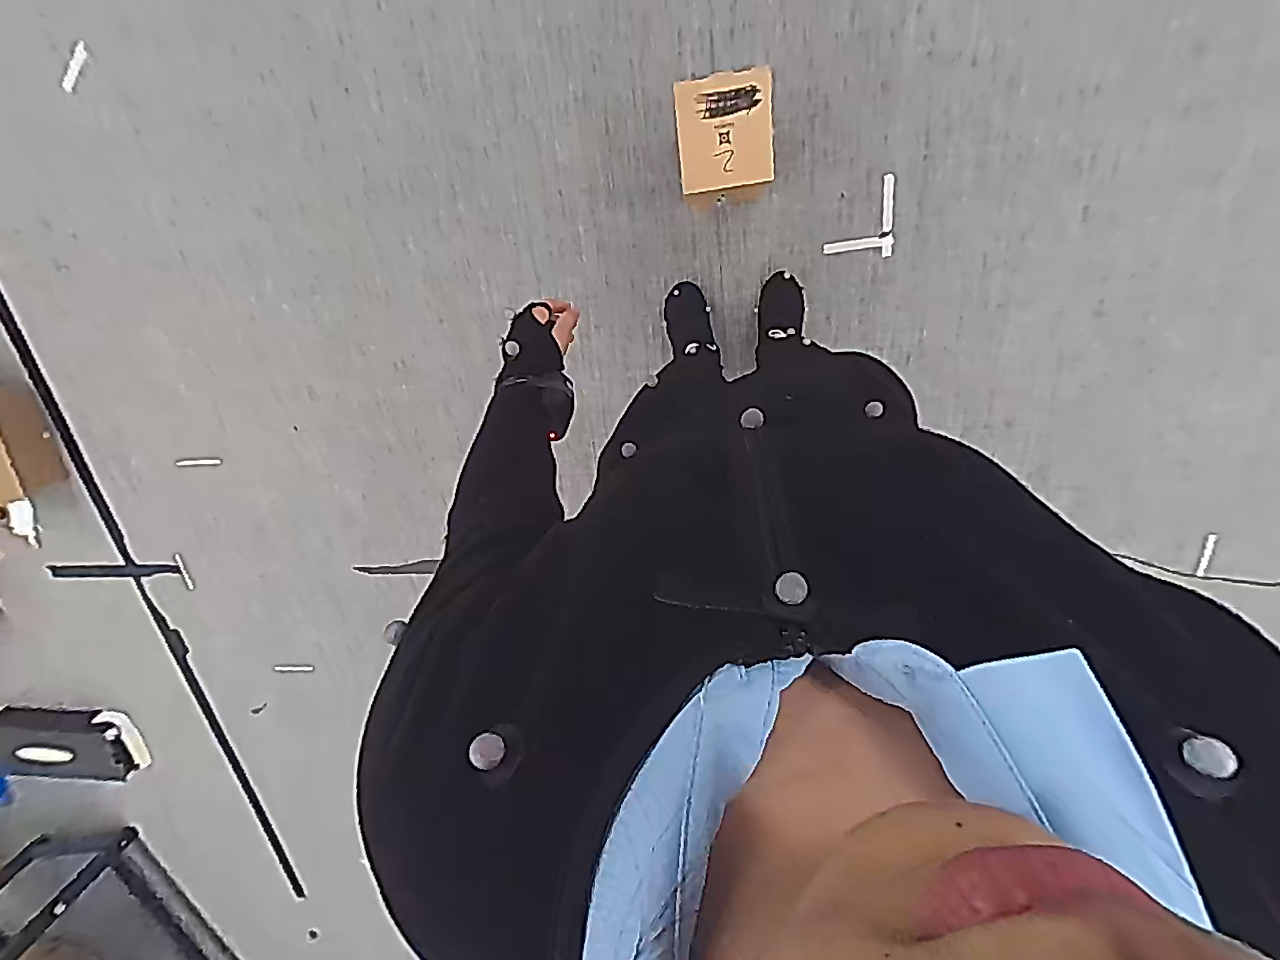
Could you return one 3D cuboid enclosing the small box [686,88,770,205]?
[{"bbox_3d":[0.186,-0.708,1.165,0.168,0.176,0.179,-4,112,8],"label":"small box"}]
